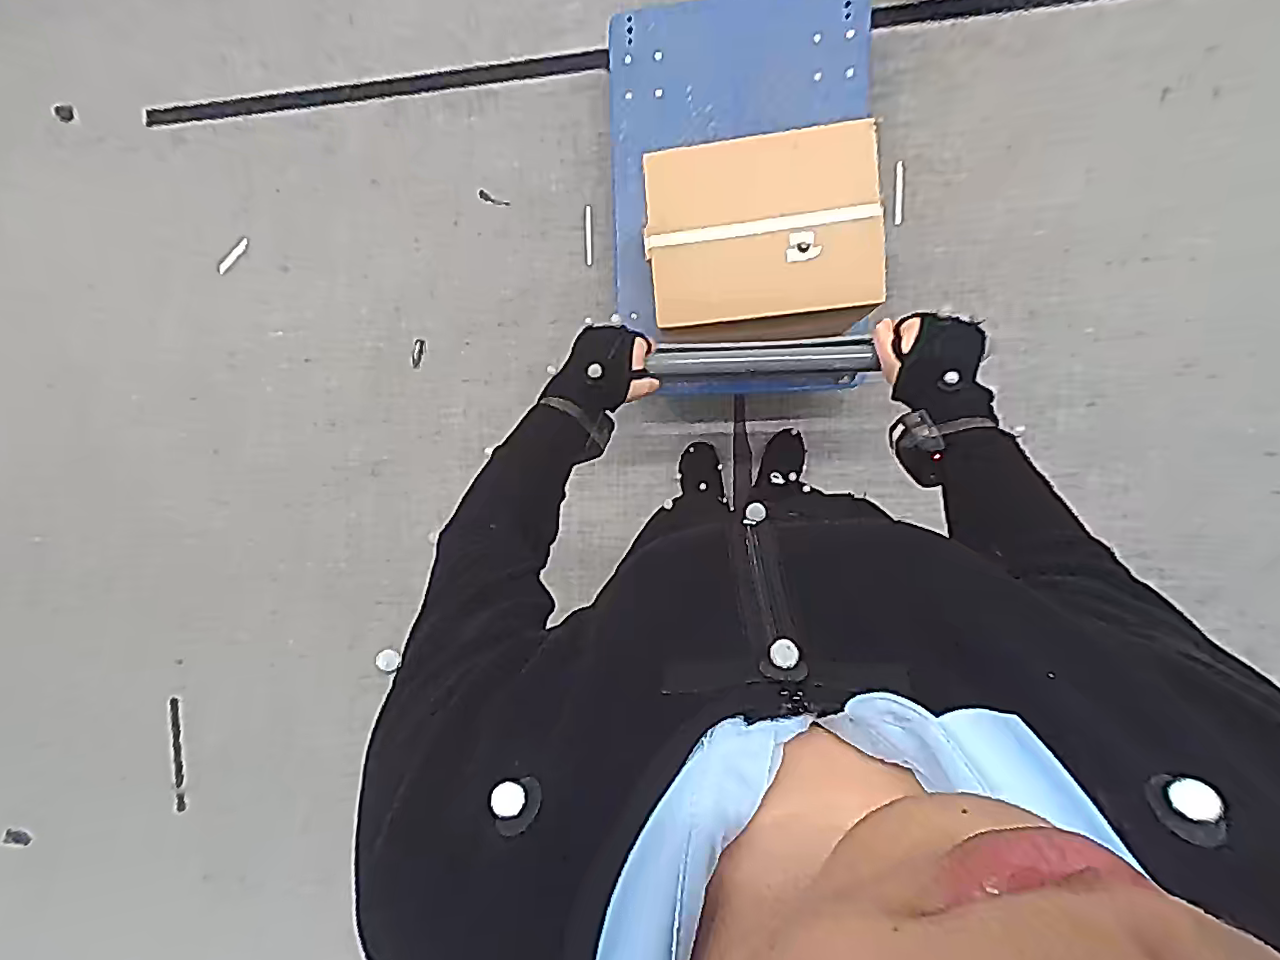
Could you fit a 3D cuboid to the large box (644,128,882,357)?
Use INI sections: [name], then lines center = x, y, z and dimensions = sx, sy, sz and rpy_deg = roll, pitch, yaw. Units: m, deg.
[large box]
center = 0.233, -0.452, 1.117
dimensions = 0.408, 0.320, 0.320
rpy_deg = -5, 95, 6
